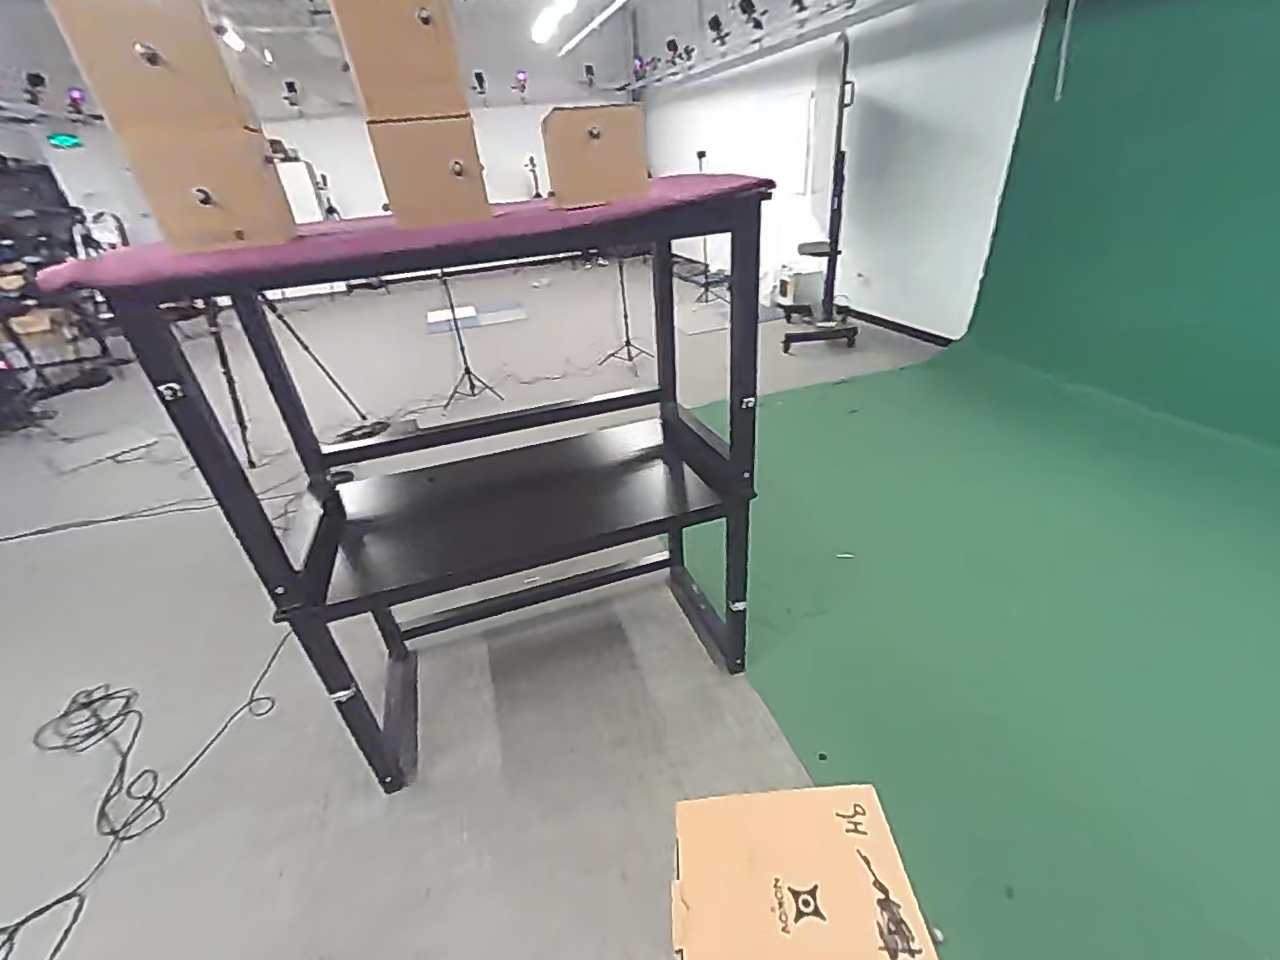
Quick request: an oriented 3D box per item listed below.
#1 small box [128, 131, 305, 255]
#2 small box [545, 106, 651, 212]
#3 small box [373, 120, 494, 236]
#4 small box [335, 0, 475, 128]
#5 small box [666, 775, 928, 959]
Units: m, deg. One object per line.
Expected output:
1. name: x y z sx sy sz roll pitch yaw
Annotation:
1. small box: -0.695 -0.484 0.916 0.168 0.176 0.179 -13 32 -16
2. small box: -0.087 -0.658 1.125 0.179 0.176 0.168 -13 29 -12
3. small box: -0.383 -0.571 1.026 0.179 0.176 0.168 -15 31 -14
4. small box: -0.402 -0.711 0.944 0.179 0.176 0.168 -15 31 -16
5. small box: 0.122 0.378 0.446 0.179 0.176 0.168 -9 29 5
